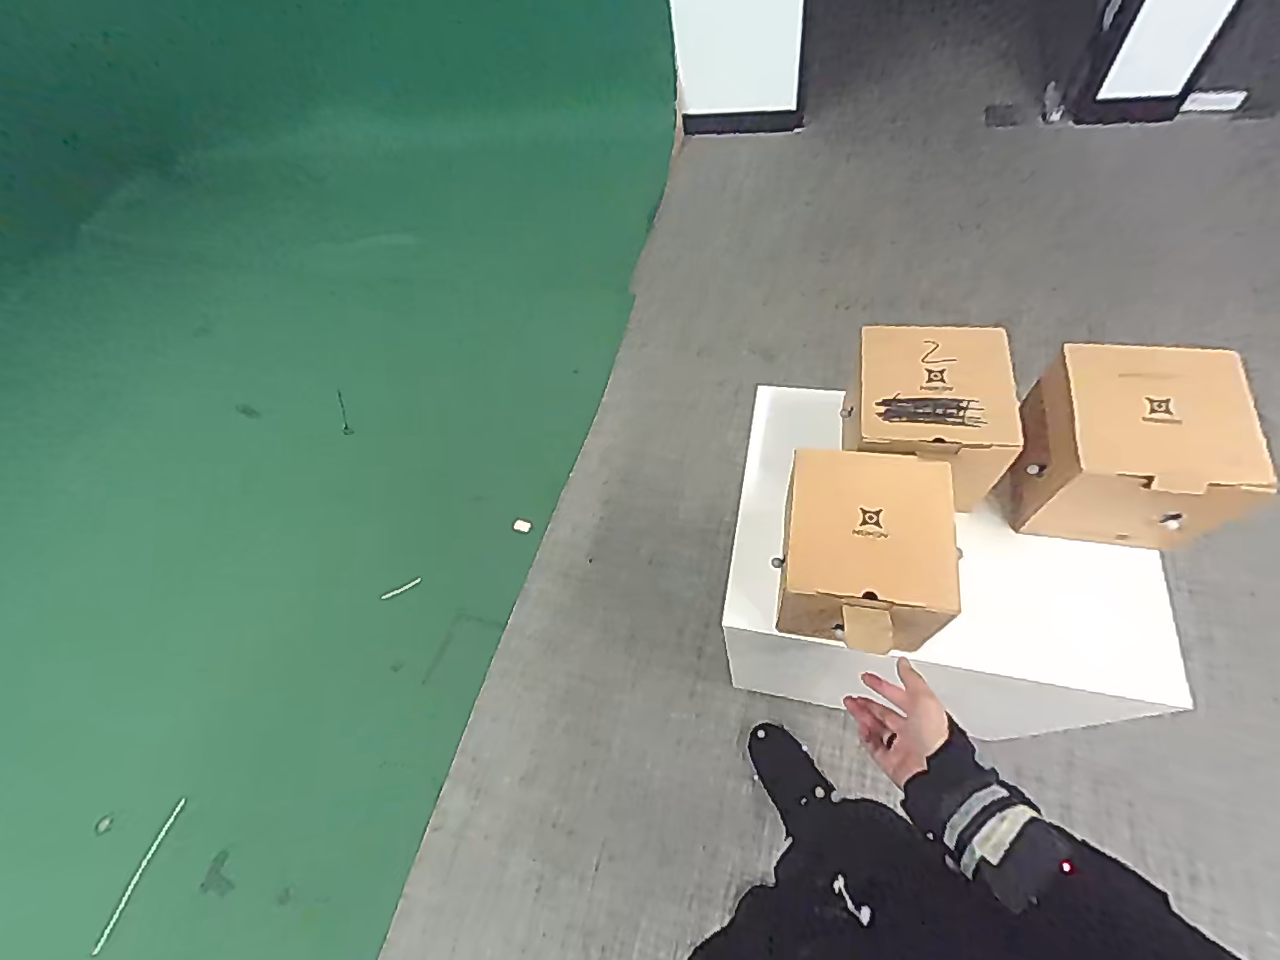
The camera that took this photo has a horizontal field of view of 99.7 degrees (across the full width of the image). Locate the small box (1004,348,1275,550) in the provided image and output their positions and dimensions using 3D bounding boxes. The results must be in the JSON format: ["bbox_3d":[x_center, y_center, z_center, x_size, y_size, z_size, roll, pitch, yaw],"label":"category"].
[{"bbox_3d":[0.561,-0.031,0.641,0.168,0.176,0.179,7,63,14],"label":"small box"}]

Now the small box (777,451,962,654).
[{"bbox_3d":[0.255,0.089,0.636,0.168,0.176,0.179,5,62,13],"label":"small box"}]
